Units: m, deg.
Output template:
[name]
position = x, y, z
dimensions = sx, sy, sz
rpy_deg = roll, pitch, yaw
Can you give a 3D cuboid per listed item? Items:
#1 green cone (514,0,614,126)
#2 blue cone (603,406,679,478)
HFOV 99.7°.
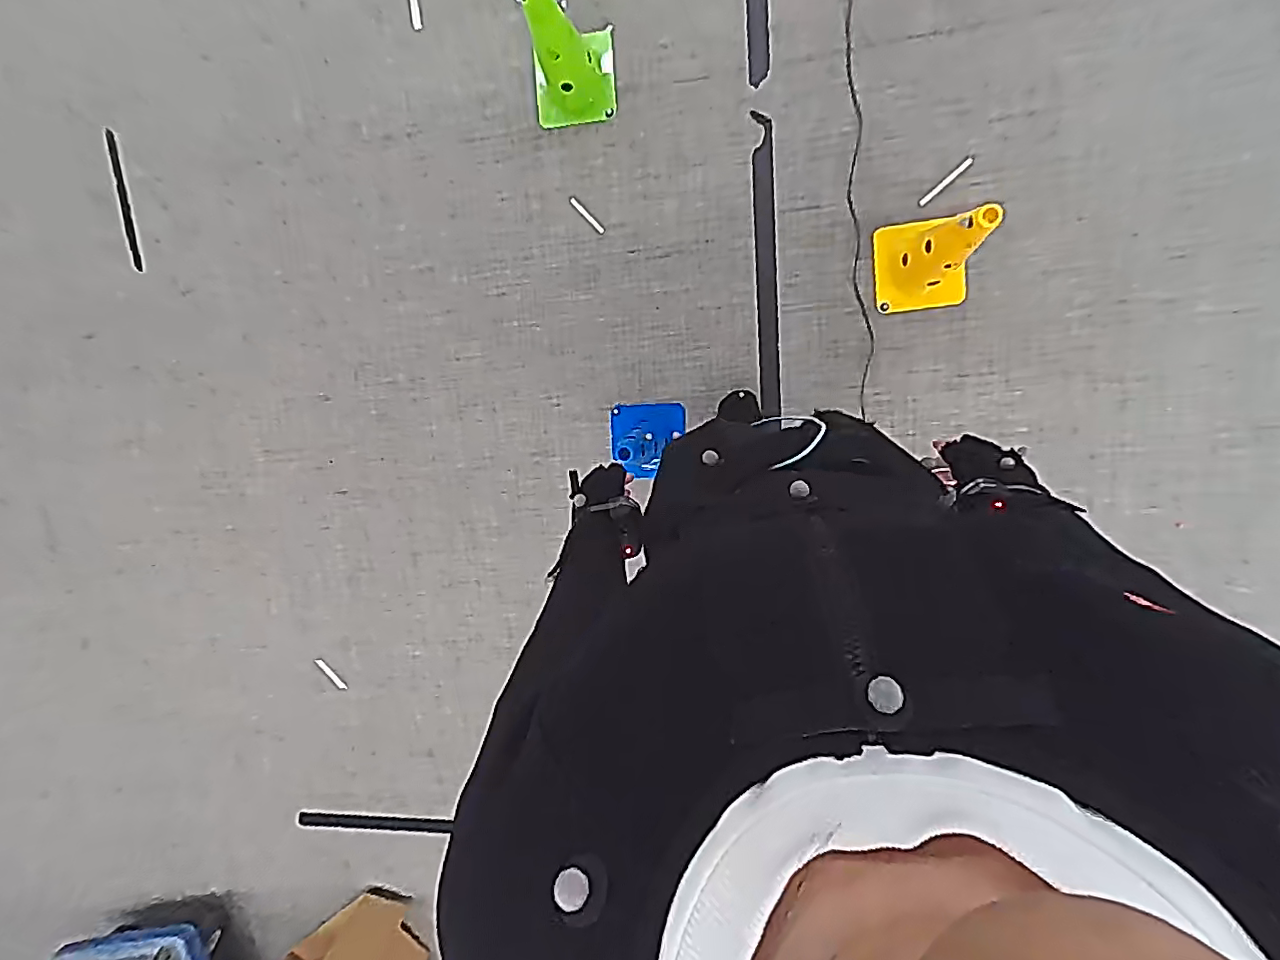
[green cone]
position = -0.196, -0.972, 1.171
dimensions = 0.202, 0.368, 0.200
rpy_deg = -3, 98, 10
[blue cone]
position = -0.019, -0.078, 1.289
dimensions = 0.192, 0.380, 0.193
rpy_deg = 1, 98, 10
